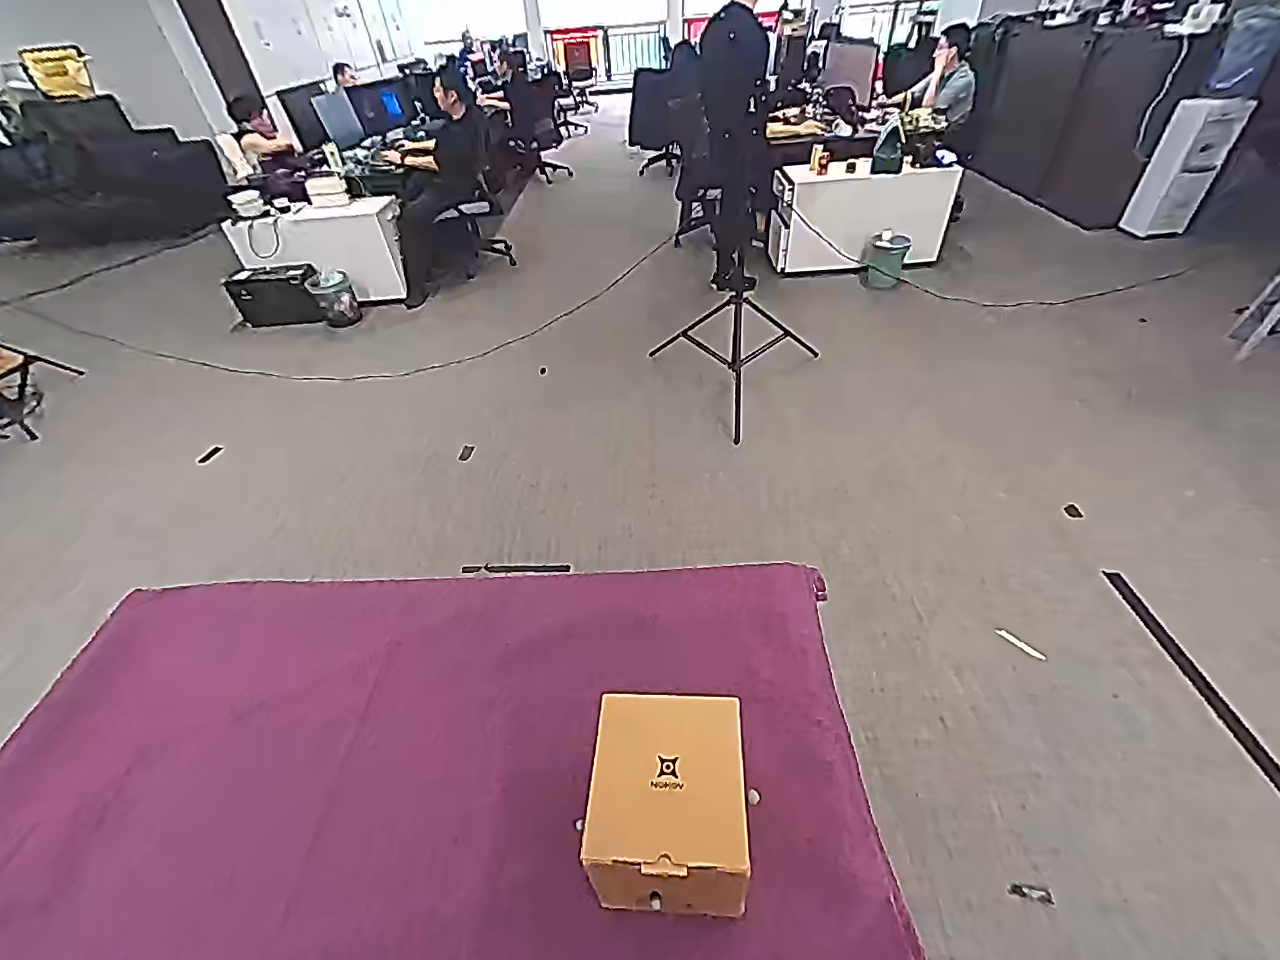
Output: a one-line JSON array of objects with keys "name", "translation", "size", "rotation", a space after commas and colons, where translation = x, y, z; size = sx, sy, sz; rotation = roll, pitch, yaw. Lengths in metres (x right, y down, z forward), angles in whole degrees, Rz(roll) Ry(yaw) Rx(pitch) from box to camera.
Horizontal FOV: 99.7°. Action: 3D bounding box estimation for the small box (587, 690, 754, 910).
[{"name": "small box", "translation": [0.039, 0.373, 0.636], "size": [0.168, 0.176, 0.179], "rotation": [-1, 41, 6]}]
